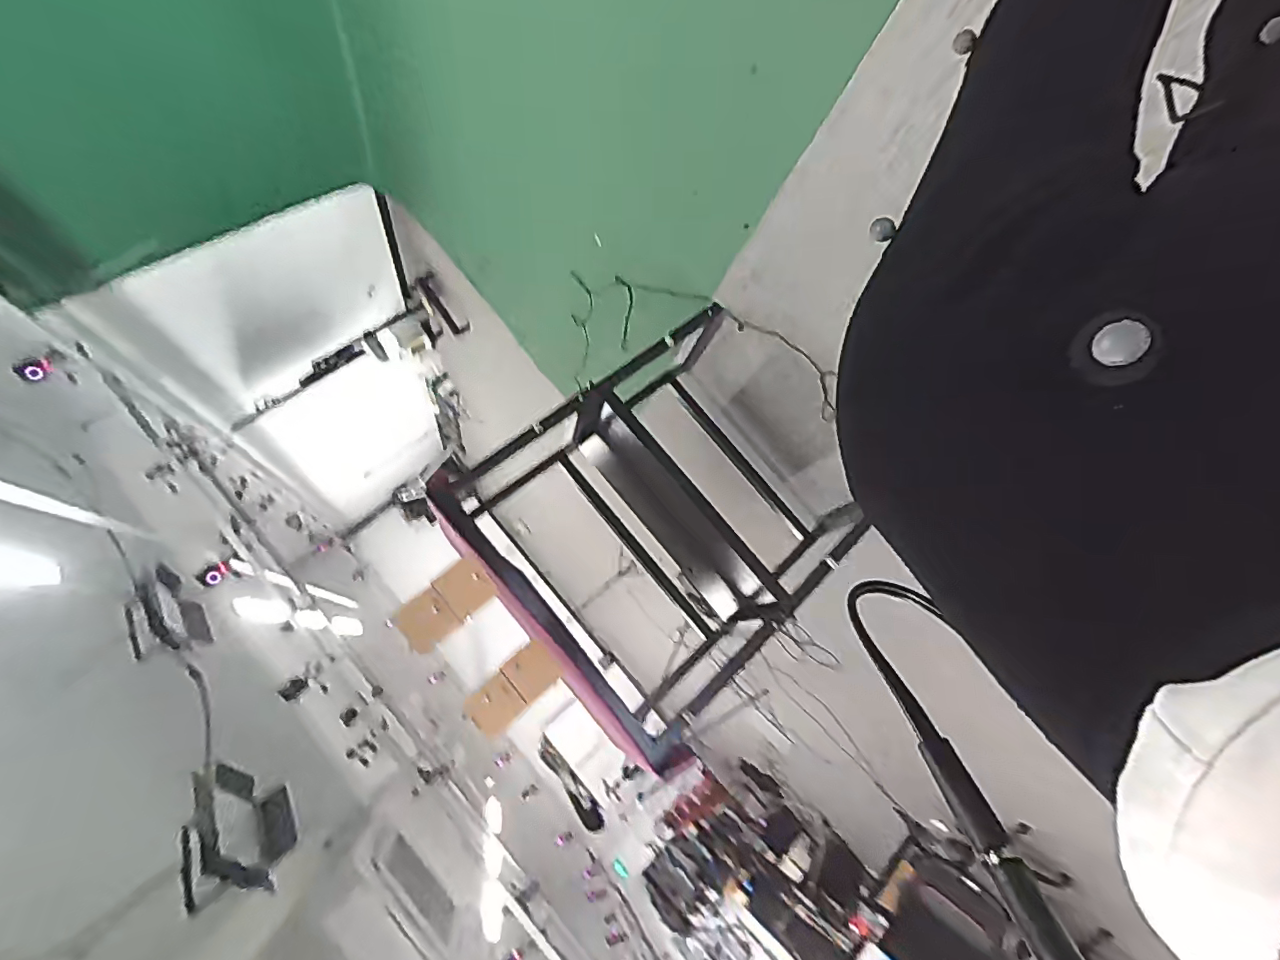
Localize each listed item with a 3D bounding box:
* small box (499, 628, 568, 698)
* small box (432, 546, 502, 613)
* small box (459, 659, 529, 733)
[{"bbox_3d":[-0.381,0.642,1.923,0.179,0.176,0.168,50,159,4],"label":"small box"},{"bbox_3d":[-0.618,0.356,1.954,0.179,0.176,0.168,50,160,5],"label":"small box"},{"bbox_3d":[-0.501,0.738,1.867,0.168,0.176,0.179,52,159,4],"label":"small box"}]
